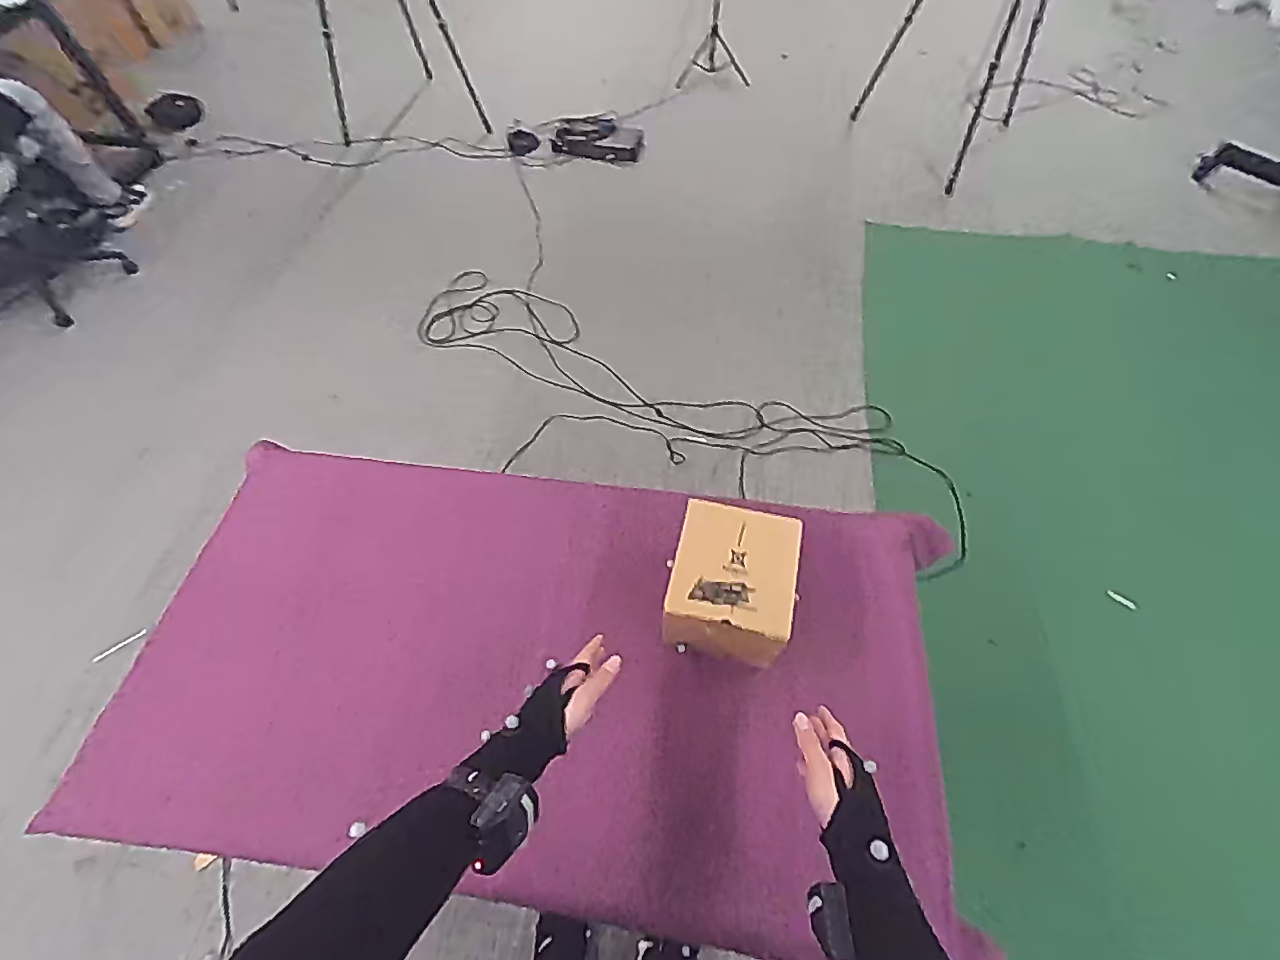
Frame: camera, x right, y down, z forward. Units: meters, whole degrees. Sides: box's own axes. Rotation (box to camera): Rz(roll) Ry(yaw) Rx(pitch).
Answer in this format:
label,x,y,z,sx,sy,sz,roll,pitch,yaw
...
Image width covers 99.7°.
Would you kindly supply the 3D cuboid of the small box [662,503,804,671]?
label,x,y,z,sx,sy,sz,roll,pitch,yaw
small box,0.133,0.163,0.798,0.168,0.176,0.179,12,59,9
